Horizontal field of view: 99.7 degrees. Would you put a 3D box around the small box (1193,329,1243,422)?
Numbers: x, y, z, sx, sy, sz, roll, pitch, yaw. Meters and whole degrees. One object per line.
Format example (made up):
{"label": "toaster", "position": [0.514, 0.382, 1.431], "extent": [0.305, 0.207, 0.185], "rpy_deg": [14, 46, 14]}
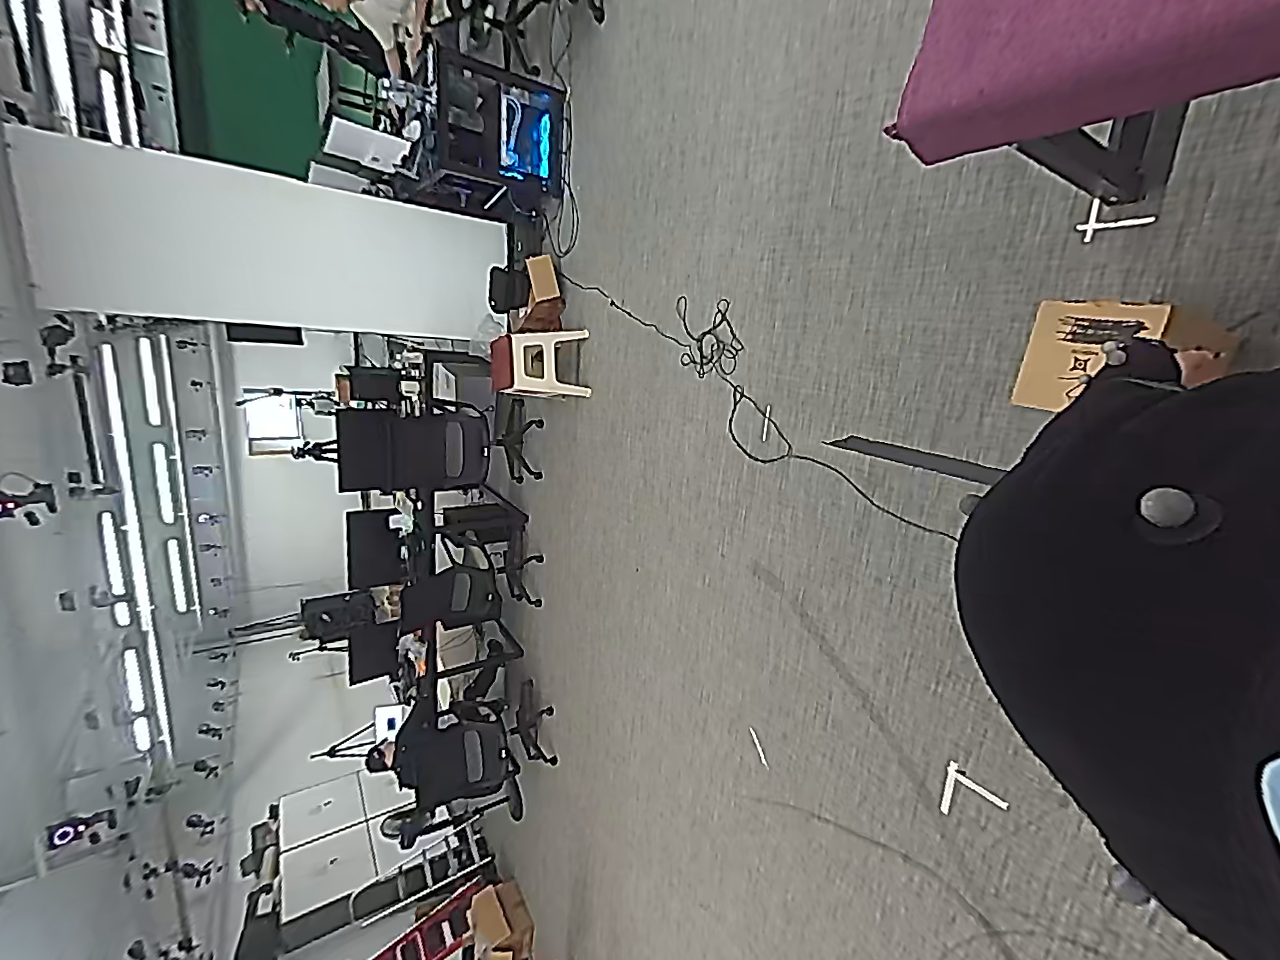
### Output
{"label": "small box", "position": [1.034, -0.216, 1.070], "extent": [0.168, 0.176, 0.179], "rpy_deg": [33, 121, 50]}

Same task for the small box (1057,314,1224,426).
{"label": "small box", "position": [0.901, -0.198, 0.974], "extent": [0.168, 0.176, 0.179], "rpy_deg": [26, 116, 53]}
